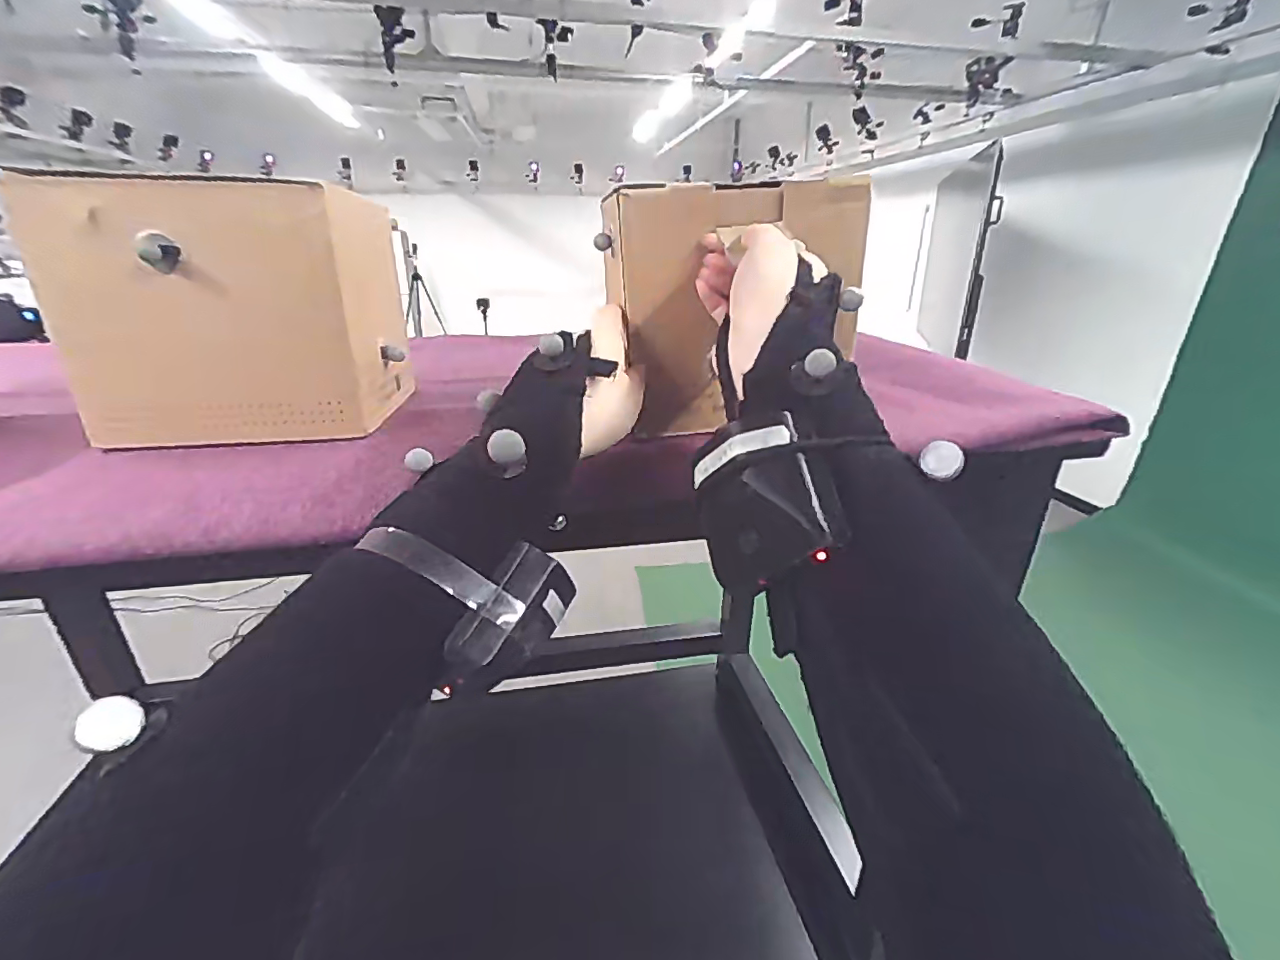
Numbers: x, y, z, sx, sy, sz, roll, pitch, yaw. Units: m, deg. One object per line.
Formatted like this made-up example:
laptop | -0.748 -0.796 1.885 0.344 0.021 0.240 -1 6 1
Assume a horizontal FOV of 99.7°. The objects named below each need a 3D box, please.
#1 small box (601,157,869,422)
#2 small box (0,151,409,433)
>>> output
small box | 0.058 -0.155 0.442 0.168 0.176 0.179 -6 26 -5
small box | -0.295 -0.136 0.413 0.179 0.176 0.168 -3 22 -9
